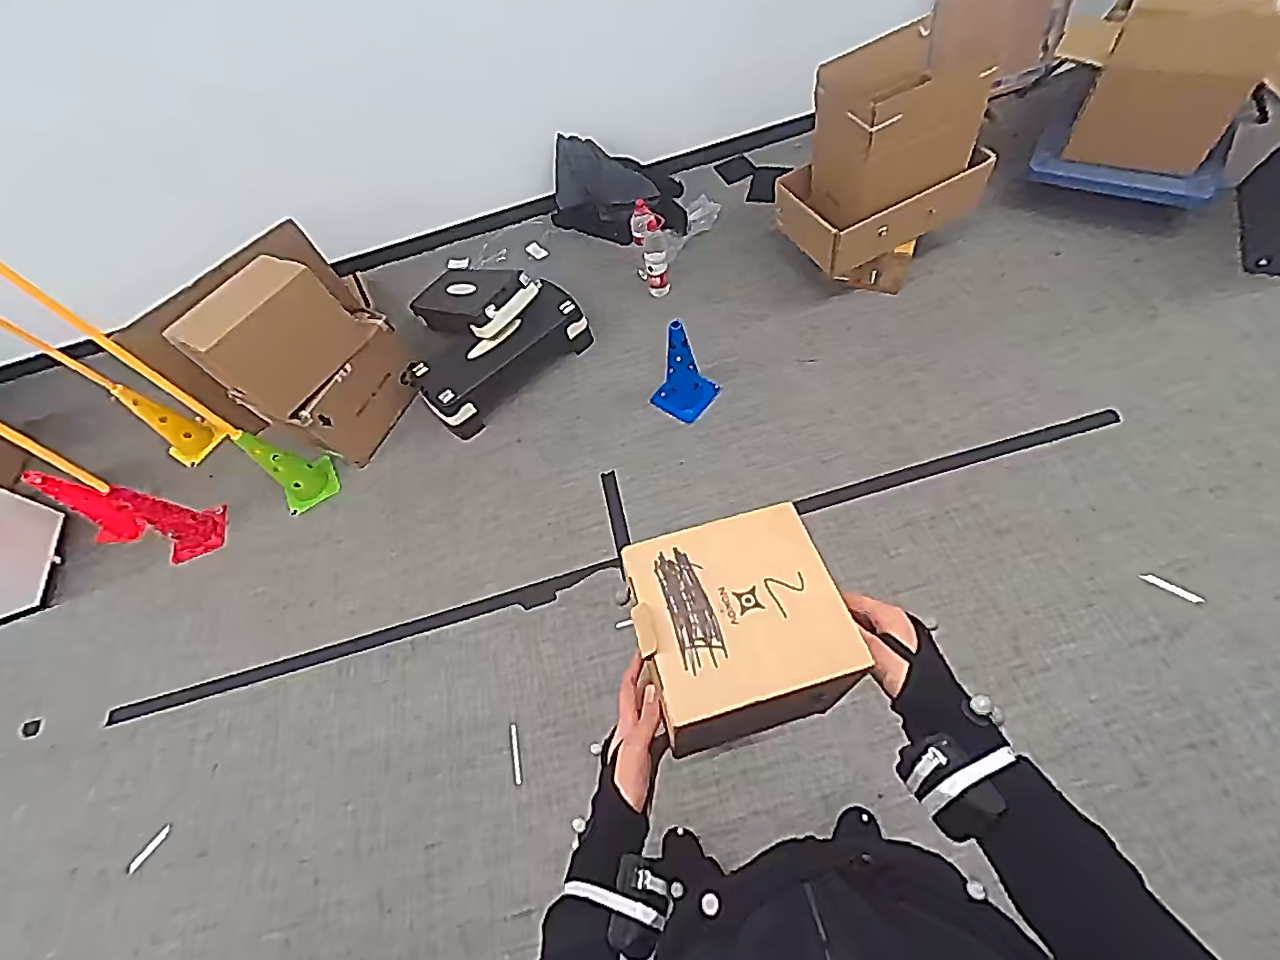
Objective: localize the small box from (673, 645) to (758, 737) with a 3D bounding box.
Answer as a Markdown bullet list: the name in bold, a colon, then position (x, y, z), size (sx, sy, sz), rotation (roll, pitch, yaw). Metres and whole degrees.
- **small box**: position (0.197, 0.553, 1.401), size (0.168, 0.176, 0.179), rotation (-20, 59, -1)
